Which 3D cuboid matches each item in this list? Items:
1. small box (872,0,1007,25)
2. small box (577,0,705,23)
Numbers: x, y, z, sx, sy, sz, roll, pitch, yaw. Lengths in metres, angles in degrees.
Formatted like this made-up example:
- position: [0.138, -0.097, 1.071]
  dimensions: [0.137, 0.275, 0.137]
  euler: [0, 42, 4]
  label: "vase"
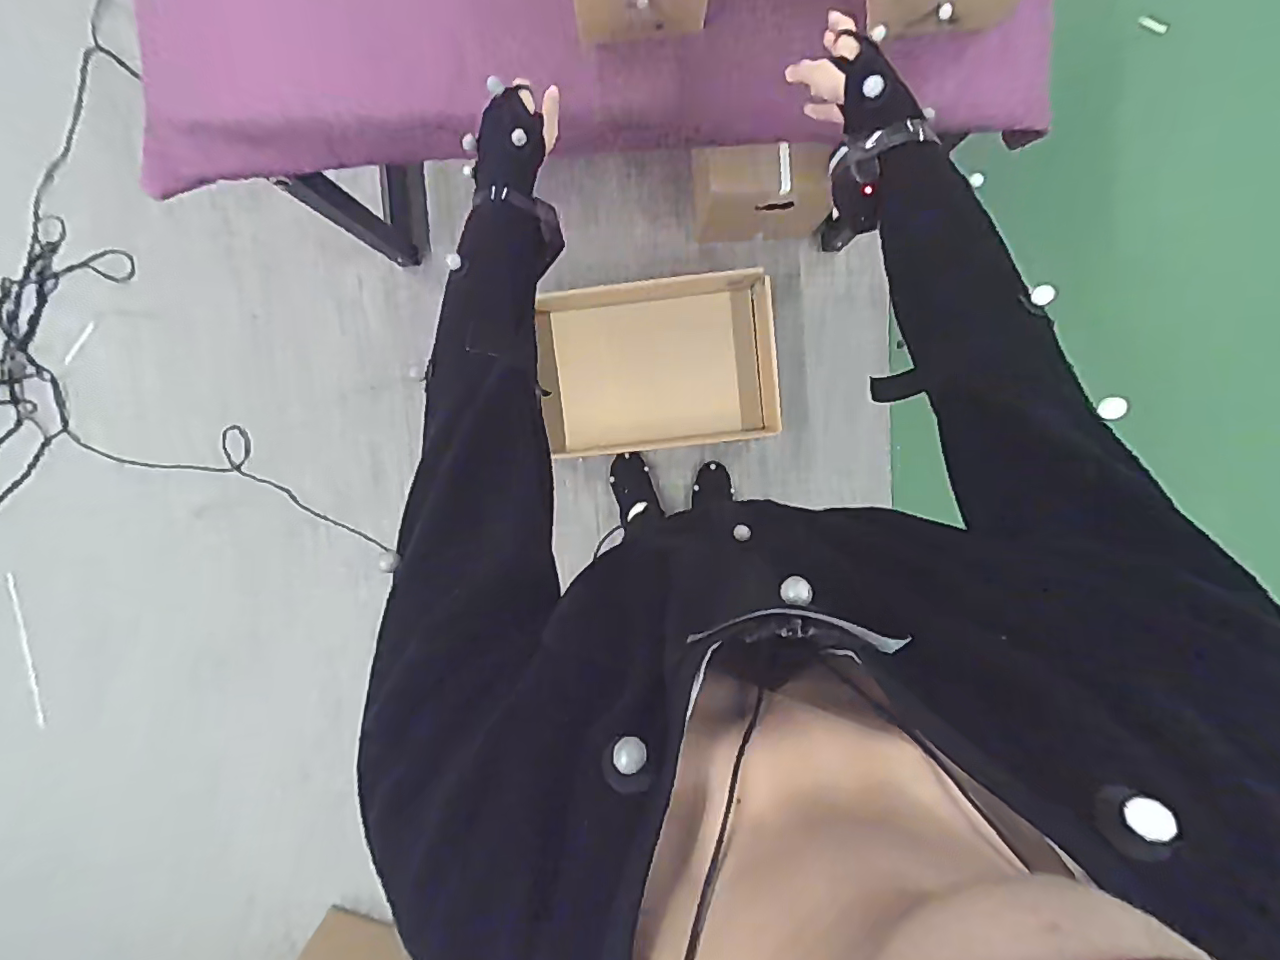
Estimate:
- position: [0.376, -0.673, 0.615]
  dimensions: [0.168, 0.176, 0.179]
  euler: [-2, 96, 2]
  label: "small box"
- position: [-0.006, -0.671, 0.619]
  dimensions: [0.168, 0.176, 0.179]
  euler: [-7, 95, 1]
  label: "small box"
